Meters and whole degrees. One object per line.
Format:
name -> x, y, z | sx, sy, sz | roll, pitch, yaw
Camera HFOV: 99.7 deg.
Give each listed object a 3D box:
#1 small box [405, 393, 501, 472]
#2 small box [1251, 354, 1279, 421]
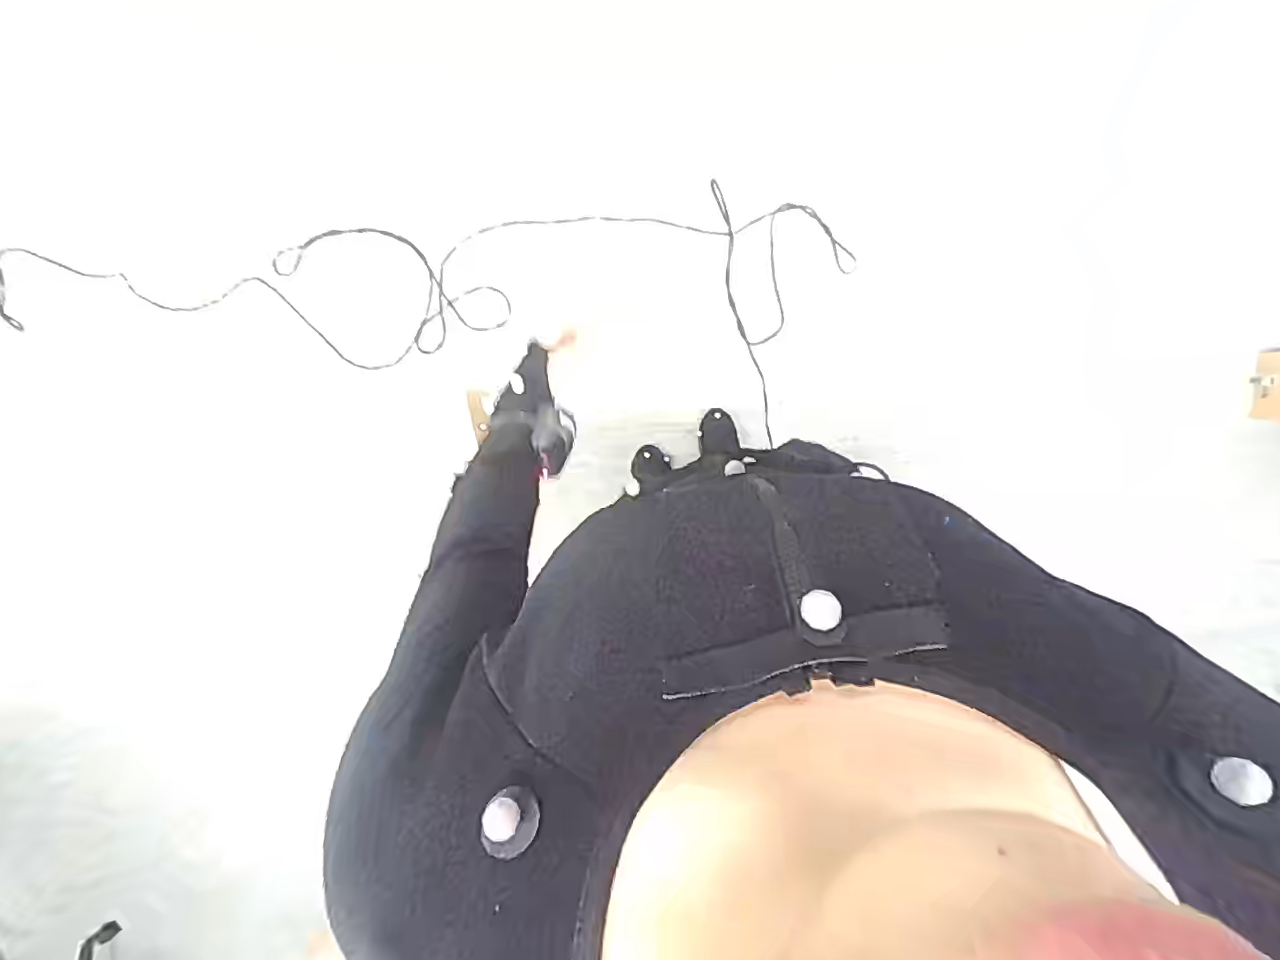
small box -> -0.485, -0.130, 1.430 | 0.168, 0.176, 0.179 | -11, 97, 6
small box -> 1.616, -0.222, 1.264 | 0.179, 0.176, 0.168 | -2, 97, 6
